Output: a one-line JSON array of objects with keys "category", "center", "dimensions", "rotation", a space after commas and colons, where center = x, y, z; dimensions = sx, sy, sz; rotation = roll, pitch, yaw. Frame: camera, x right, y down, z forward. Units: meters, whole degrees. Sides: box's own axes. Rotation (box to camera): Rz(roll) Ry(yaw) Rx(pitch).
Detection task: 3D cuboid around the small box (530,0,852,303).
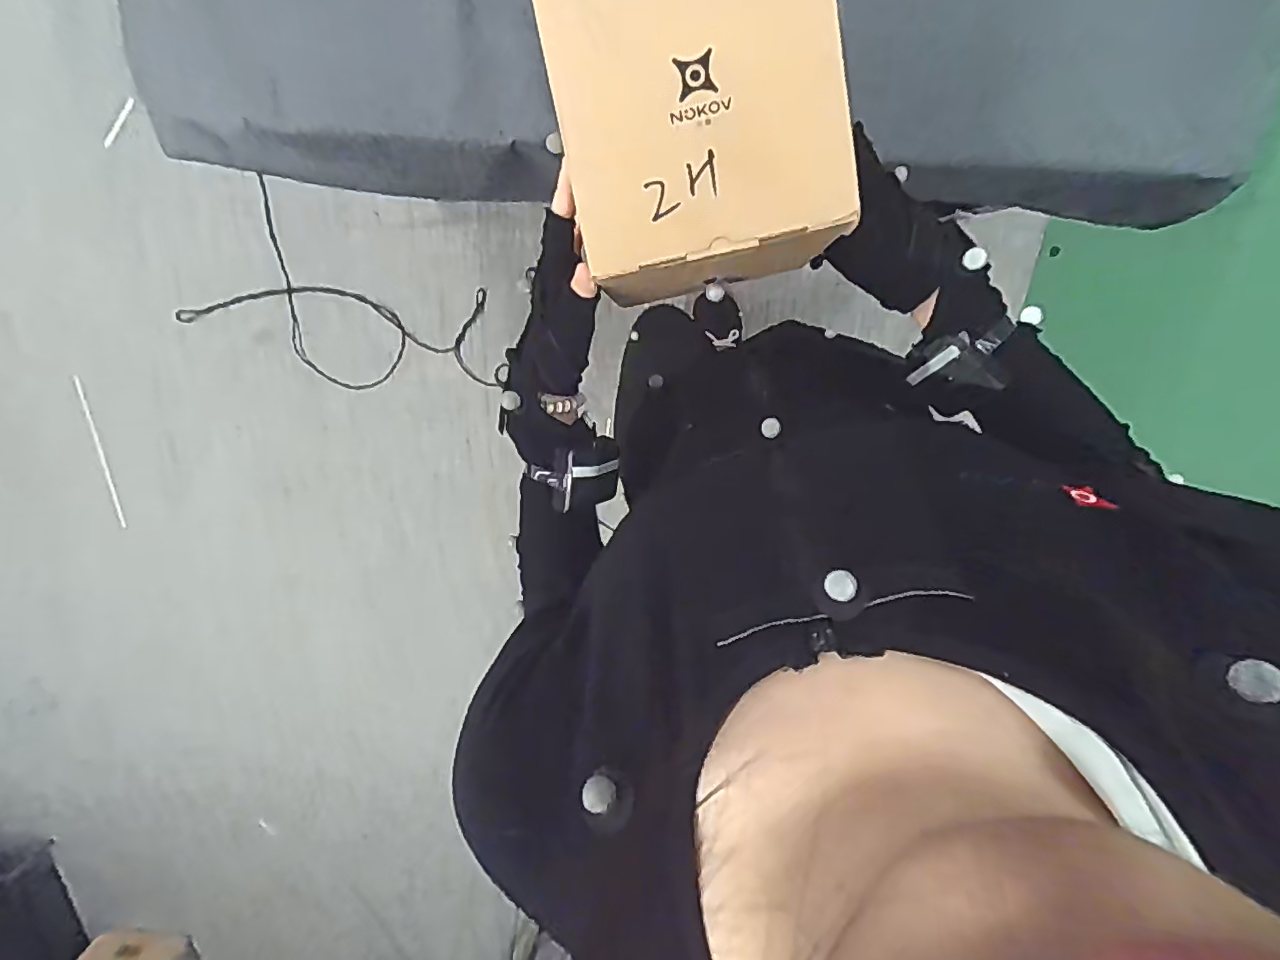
[{"category": "small box", "center": [0.036, -0.239, 0.388], "dimensions": [0.168, 0.176, 0.179], "rotation": [-11, 102, 8]}]
